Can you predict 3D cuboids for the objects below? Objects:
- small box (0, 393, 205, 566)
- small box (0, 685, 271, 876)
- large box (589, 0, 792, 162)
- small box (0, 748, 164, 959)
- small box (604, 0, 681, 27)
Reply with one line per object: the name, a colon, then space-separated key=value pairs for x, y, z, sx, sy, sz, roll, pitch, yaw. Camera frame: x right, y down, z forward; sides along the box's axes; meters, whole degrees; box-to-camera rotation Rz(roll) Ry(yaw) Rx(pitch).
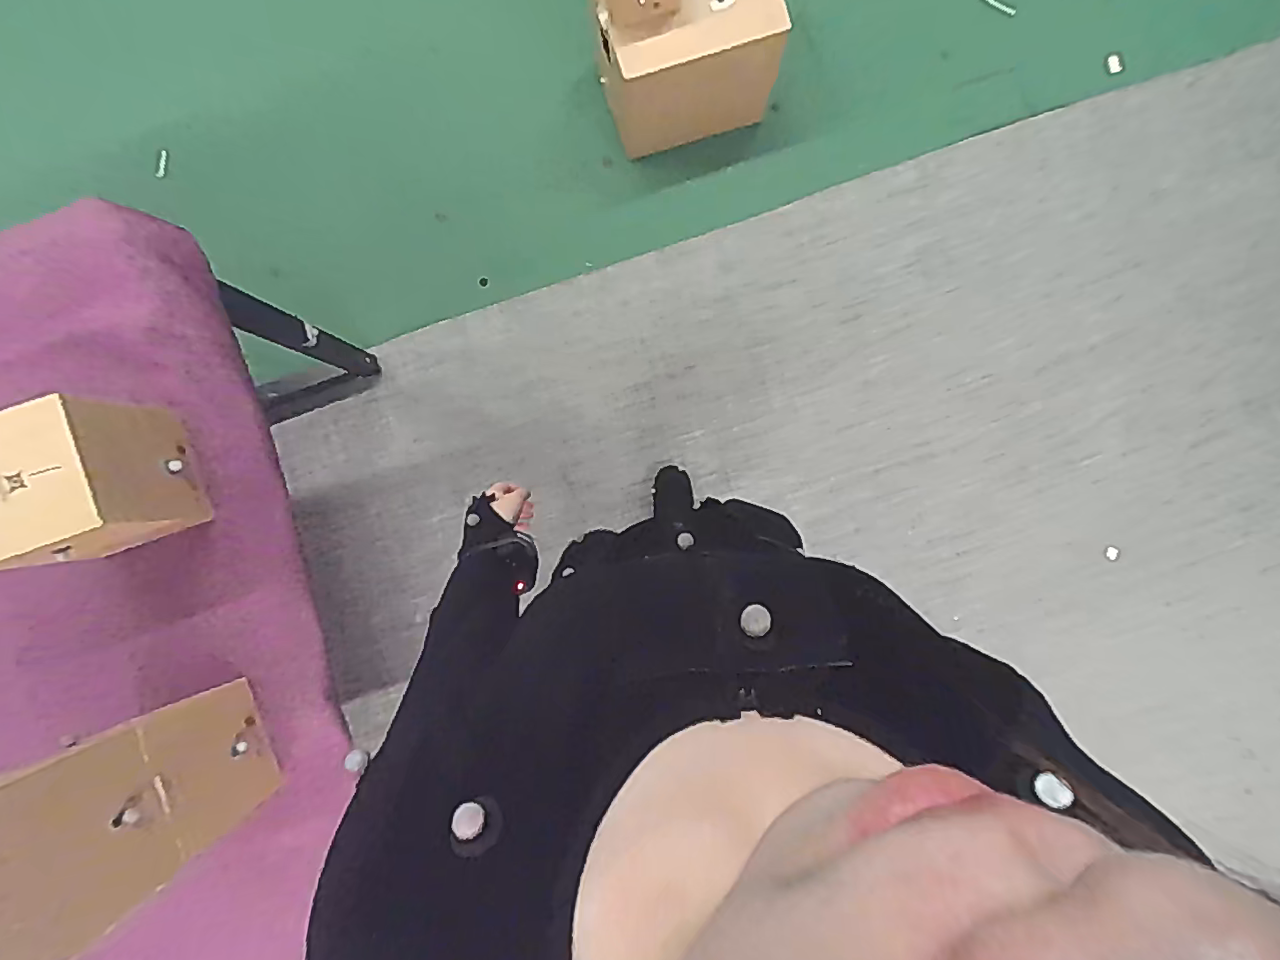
small box: x=-0.722 y=0.006 z=0.691 sx=0.179 sy=0.176 sz=0.168 roll=-19 pitch=89 yaw=0
small box: x=-0.621 y=0.388 z=0.681 sx=0.179 sy=0.176 sz=0.168 roll=-20 pitch=89 yaw=1
large box: x=0.110 y=-1.093 z=1.373 sx=0.408 sy=0.320 sz=0.320 roll=-17 pitch=89 yaw=-1
small box: x=-0.623 y=0.386 z=0.517 sx=0.168 sy=0.176 sz=0.179 roll=-21 pitch=88 yaw=2
small box: x=-0.008 y=-1.116 z=1.131 sx=0.168 sy=0.176 sz=0.179 roll=-17 pitch=88 yaw=-1
